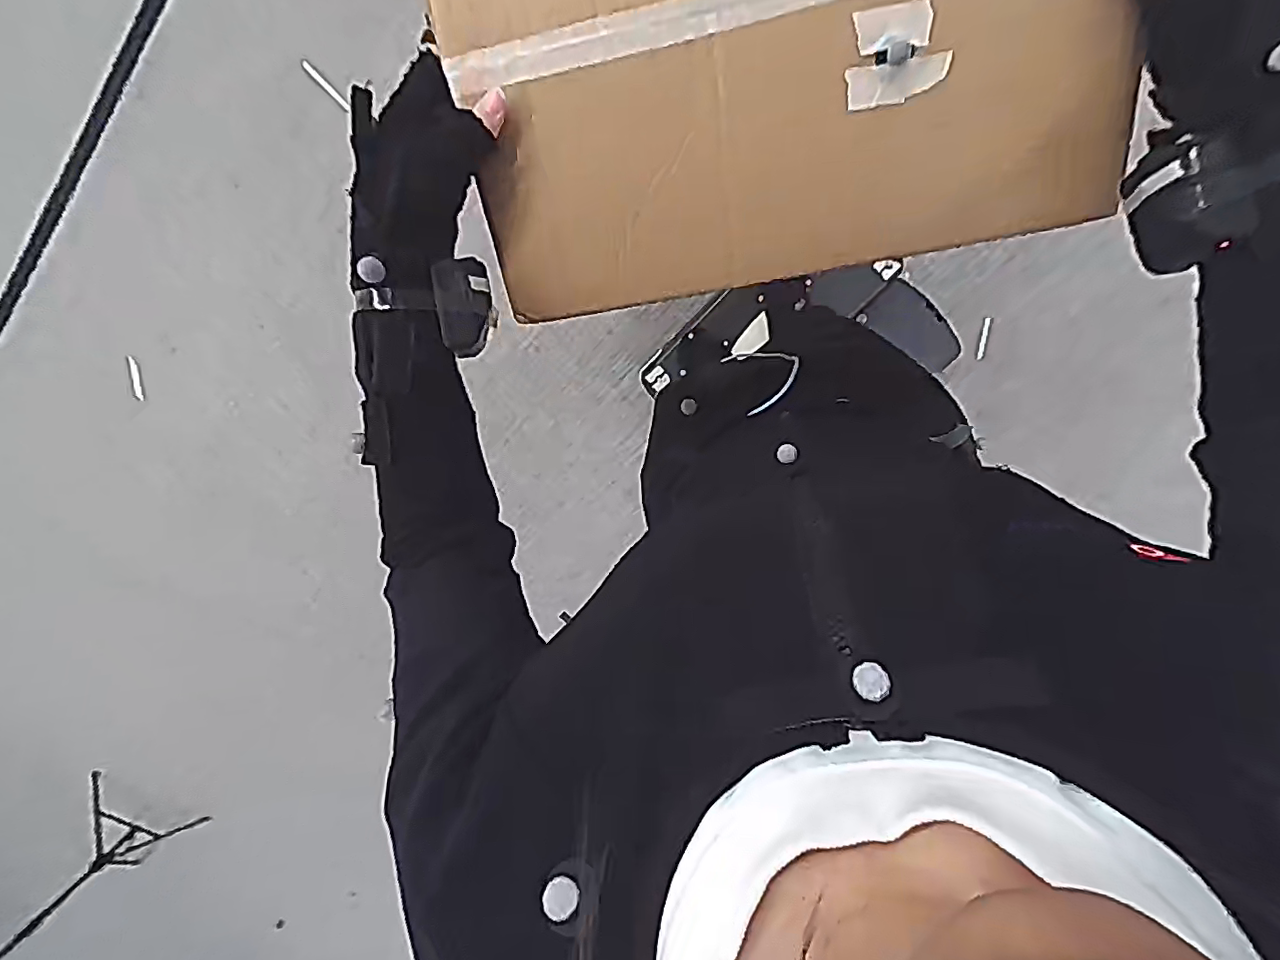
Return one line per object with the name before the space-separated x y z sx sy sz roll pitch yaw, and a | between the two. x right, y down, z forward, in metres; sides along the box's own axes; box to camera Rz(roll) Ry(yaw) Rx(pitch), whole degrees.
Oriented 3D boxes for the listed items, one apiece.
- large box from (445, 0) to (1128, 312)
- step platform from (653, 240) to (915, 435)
large box | 0.089 -0.355 0.458 0.408 0.320 0.320 -8 115 9
step platform | 0.349 -0.437 1.409 0.286 0.204 0.684 43 105 -8
